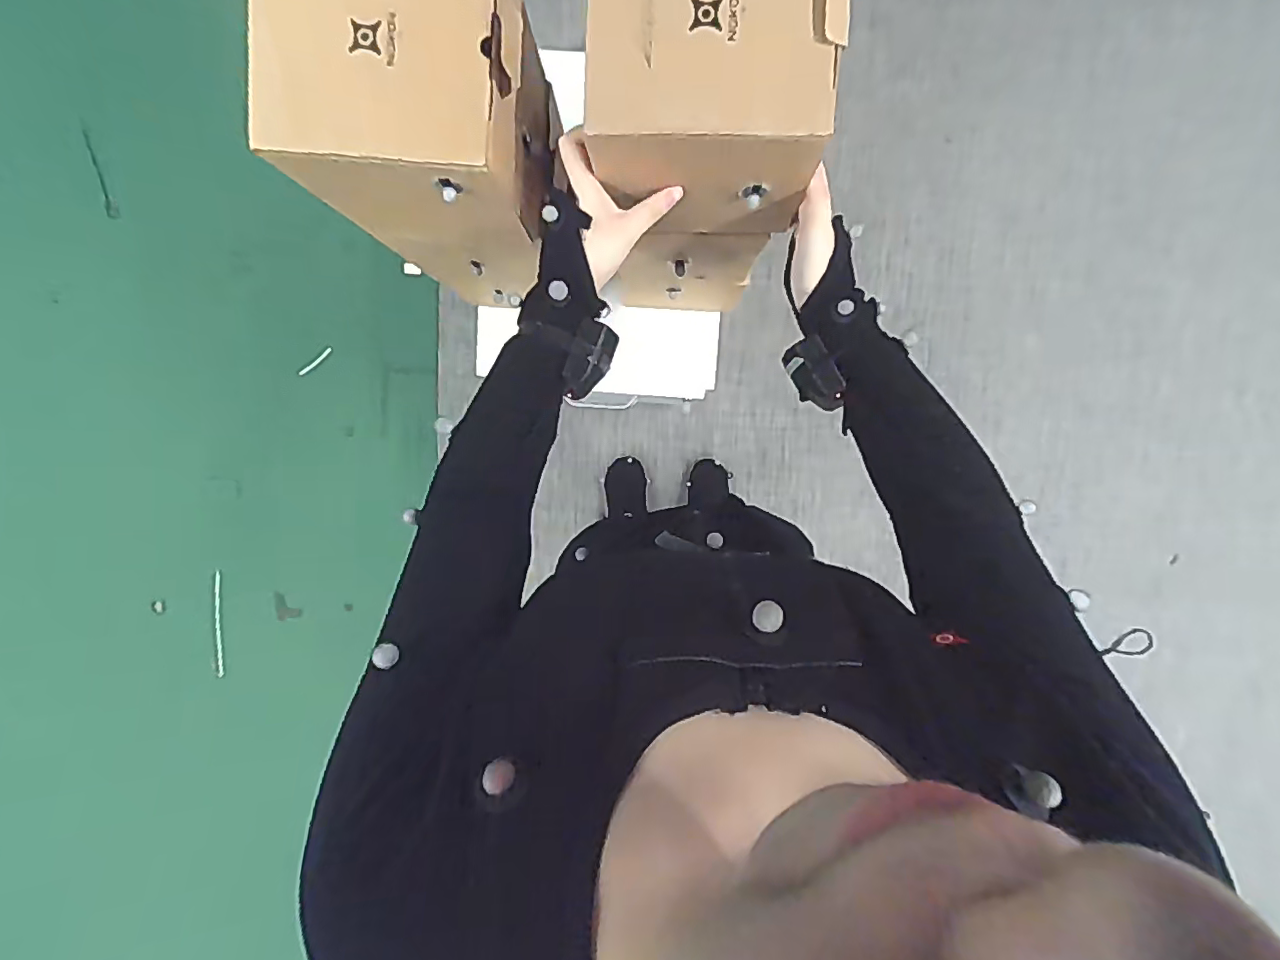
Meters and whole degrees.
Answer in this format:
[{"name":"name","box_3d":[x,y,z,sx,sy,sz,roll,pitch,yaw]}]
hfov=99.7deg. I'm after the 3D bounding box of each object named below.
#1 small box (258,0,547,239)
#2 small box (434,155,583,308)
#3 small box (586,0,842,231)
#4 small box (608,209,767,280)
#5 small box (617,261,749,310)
[{"name":"small box","box_3d":[-0.185,-0.324,0.466,0.179,0.176,0.168,4,95,-1]},{"name":"small box","box_3d":[-0.183,-0.356,0.792,0.179,0.176,0.168,4,96,-2]},{"name":"small box","box_3d":[0.057,-0.327,0.457,0.179,0.176,0.168,3,93,4]},{"name":"small box","box_3d":[0.054,-0.339,0.623,0.168,0.176,0.179,1,96,1]},{"name":"small box","box_3d":[0.065,-0.352,0.788,0.179,0.176,0.168,4,96,1]}]
